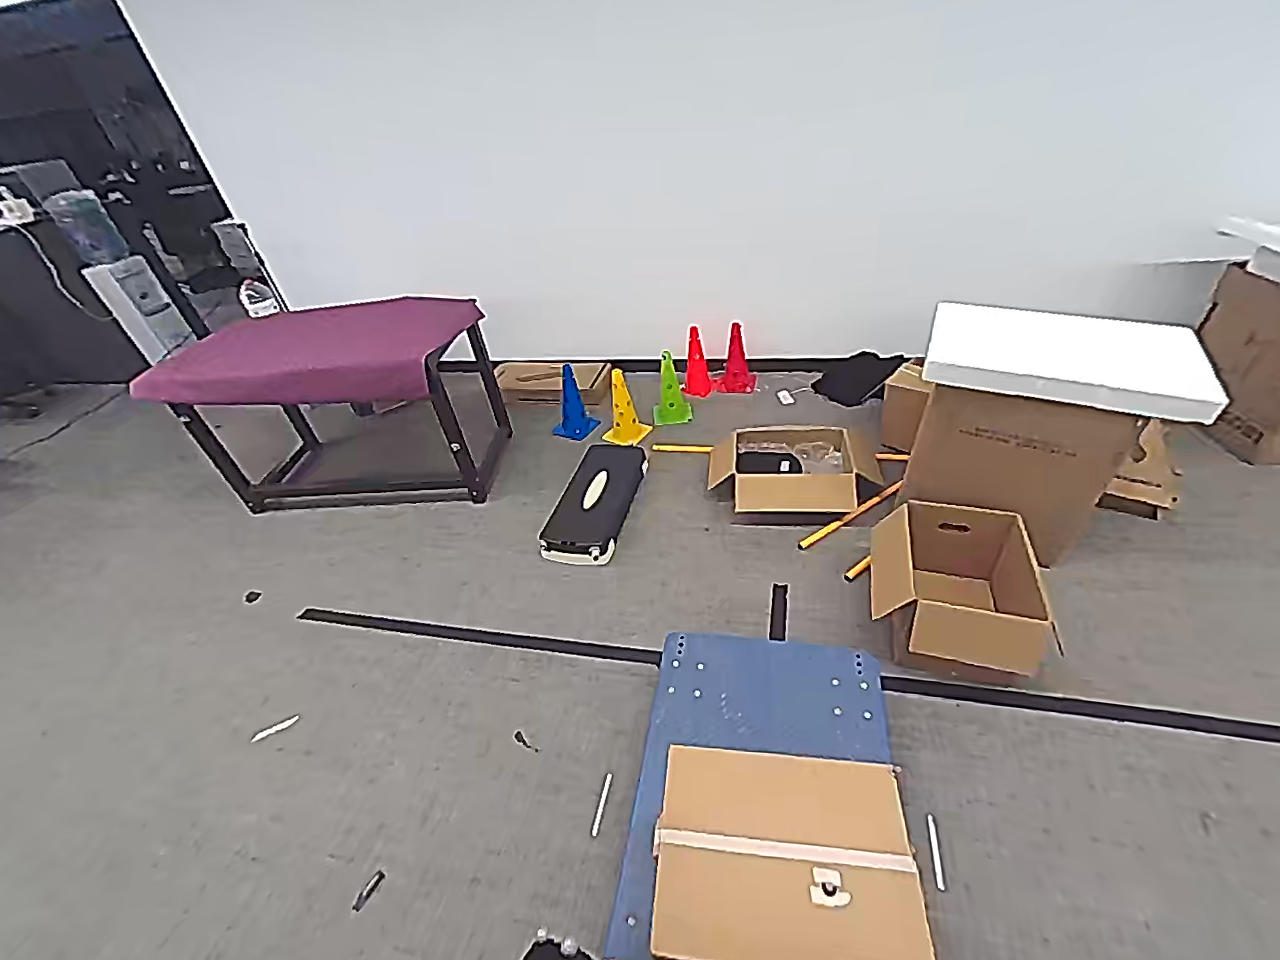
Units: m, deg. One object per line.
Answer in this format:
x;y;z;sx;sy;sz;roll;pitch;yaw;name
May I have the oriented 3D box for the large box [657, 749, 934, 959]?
0.249;0.729;0.982;0.408;0.320;0.320;1;39;9;large box
